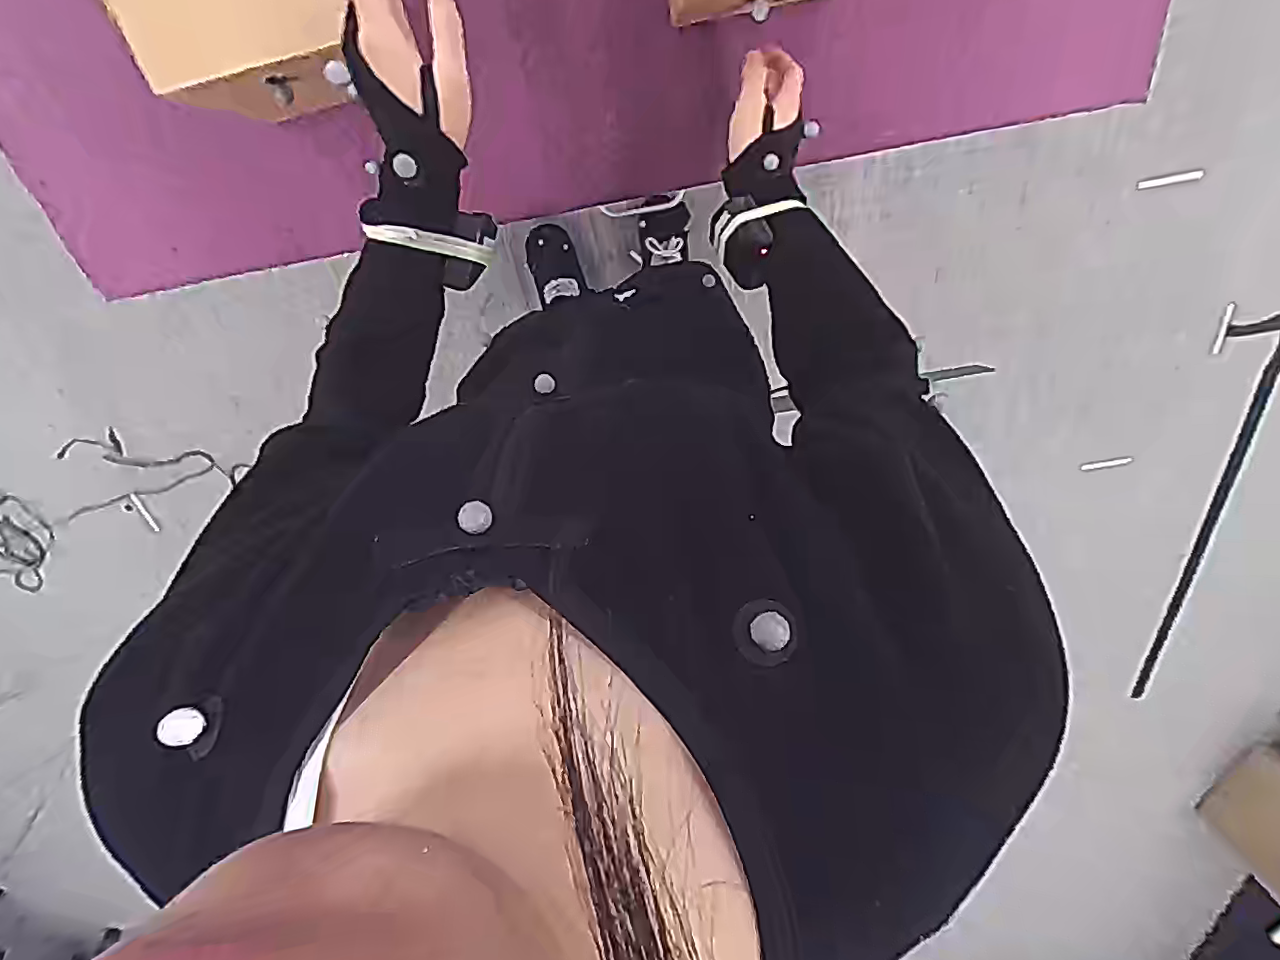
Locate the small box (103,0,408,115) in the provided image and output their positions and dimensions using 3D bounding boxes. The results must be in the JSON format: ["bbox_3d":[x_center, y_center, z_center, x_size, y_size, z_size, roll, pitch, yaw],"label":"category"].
[{"bbox_3d":[-0.318,-0.425,0.449,0.179,0.176,0.168,-13,119,4],"label":"small box"}]

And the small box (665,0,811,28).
[{"bbox_3d":[0.096,-0.505,0.430,0.168,0.176,0.179,-10,119,3],"label":"small box"}]
